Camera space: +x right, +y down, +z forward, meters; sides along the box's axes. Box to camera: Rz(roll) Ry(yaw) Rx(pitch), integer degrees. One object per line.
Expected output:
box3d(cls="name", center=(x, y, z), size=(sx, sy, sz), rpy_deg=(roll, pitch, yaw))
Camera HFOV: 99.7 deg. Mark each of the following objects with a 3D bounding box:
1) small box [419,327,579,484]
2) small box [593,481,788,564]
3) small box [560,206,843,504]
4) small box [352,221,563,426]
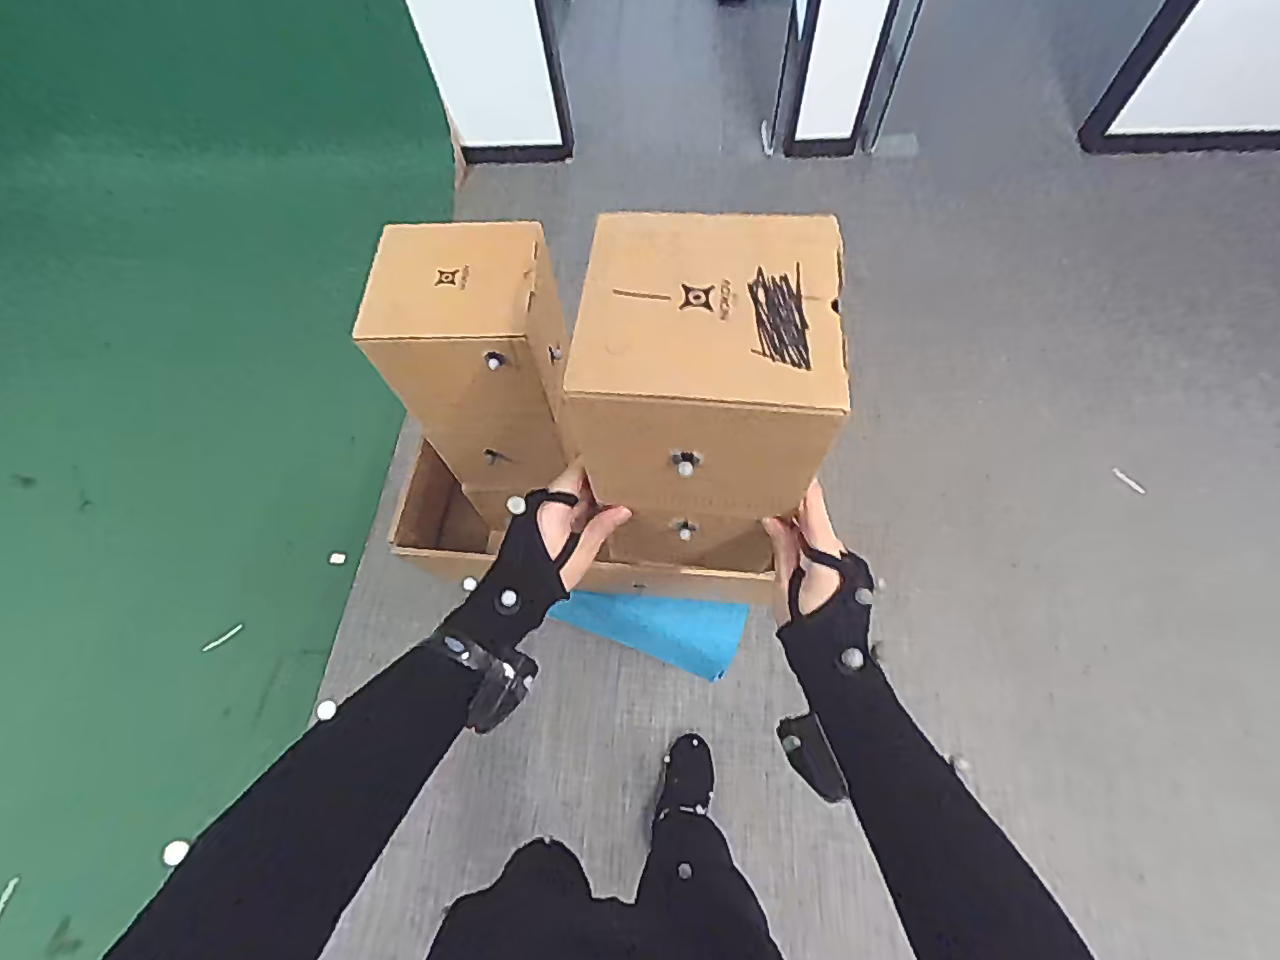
box3d(cls="small box", center=(-0.186, -0.100, 0.780), size=(0.179, 0.176, 0.168), rpy_deg=(-1, 64, 3))
box3d(cls="small box", center=(0.057, -0.017, 0.582), size=(0.179, 0.176, 0.168), rpy_deg=(5, 64, 5))
box3d(cls="small box", center=(0.049, -0.089, 0.435), size=(0.179, 0.176, 0.168), rpy_deg=(4, 64, 6))
box3d(cls="small box", center=(-0.195, -0.174, 0.635), size=(0.179, 0.176, 0.168), rpy_deg=(-1, 64, 1))
